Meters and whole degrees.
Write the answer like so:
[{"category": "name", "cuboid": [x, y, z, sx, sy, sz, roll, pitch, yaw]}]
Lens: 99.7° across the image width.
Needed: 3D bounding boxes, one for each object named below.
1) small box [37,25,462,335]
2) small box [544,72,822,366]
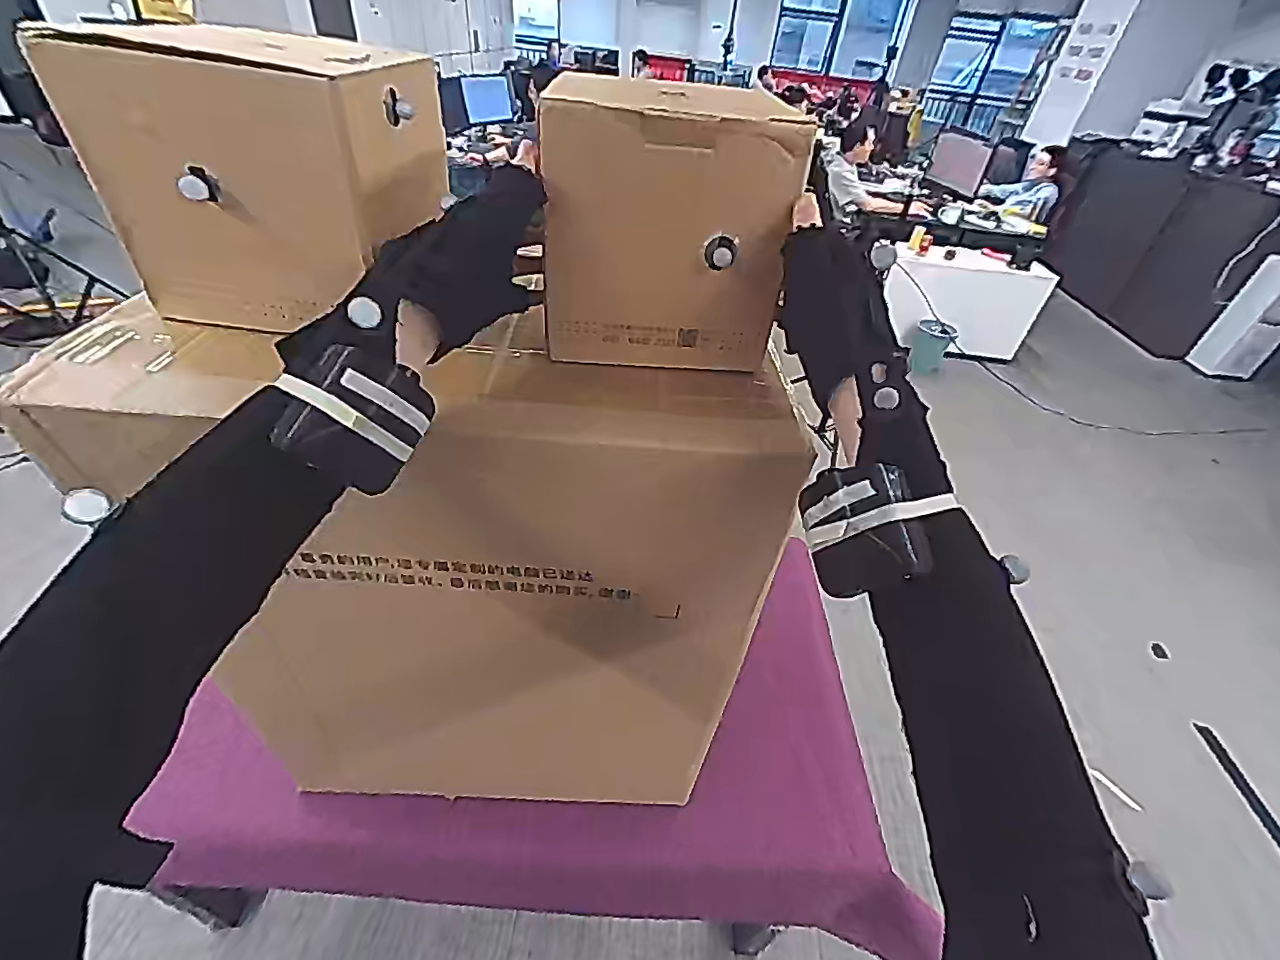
[{"category": "small box", "cuboid": [-0.251, -0.225, 0.410, 0.179, 0.176, 0.168, 6, 40, -2]}, {"category": "small box", "cuboid": [0.019, -0.203, 0.424, 0.168, 0.176, 0.179, 4, 39, -4]}]
